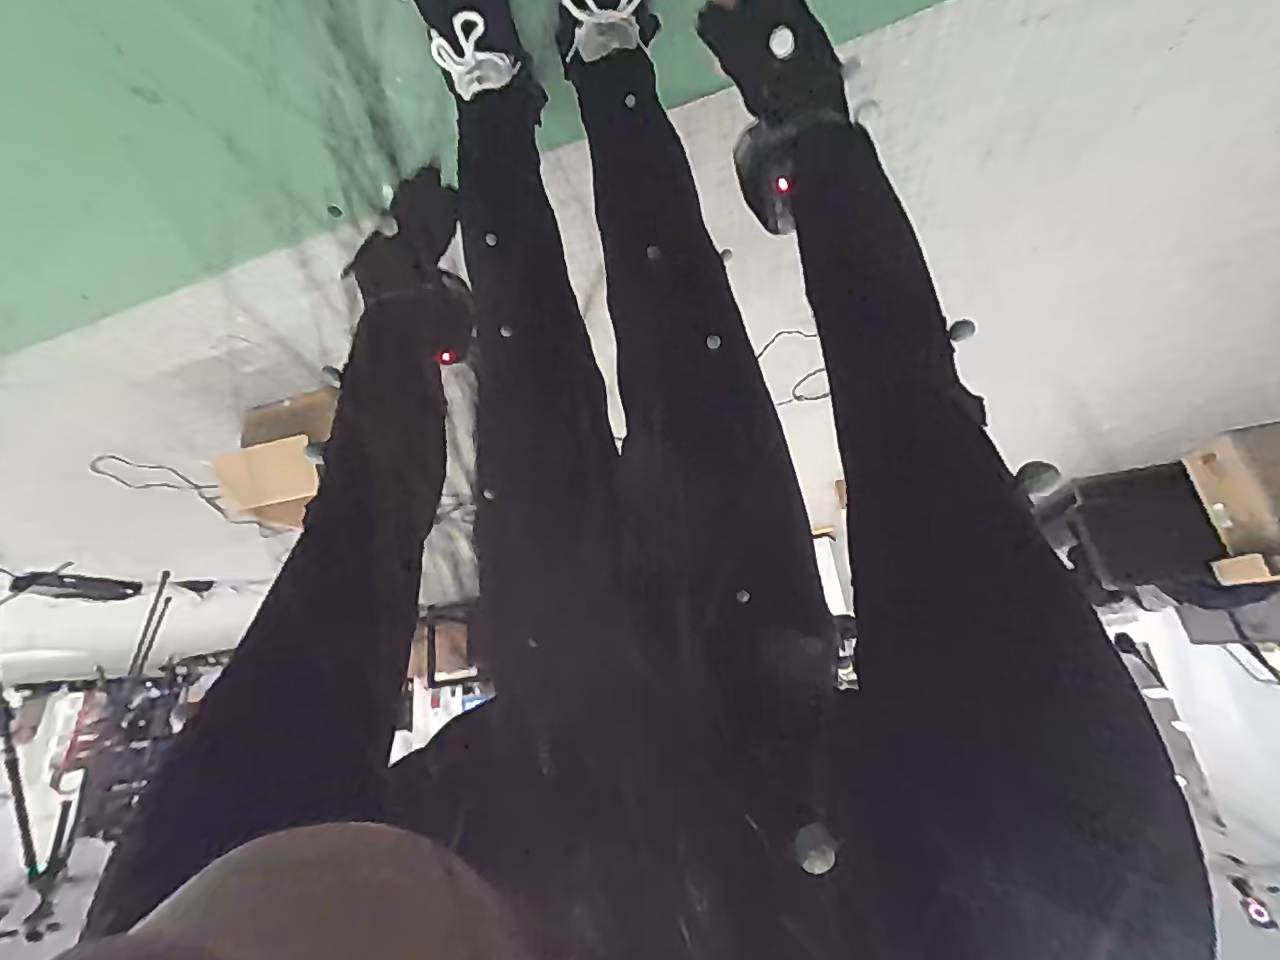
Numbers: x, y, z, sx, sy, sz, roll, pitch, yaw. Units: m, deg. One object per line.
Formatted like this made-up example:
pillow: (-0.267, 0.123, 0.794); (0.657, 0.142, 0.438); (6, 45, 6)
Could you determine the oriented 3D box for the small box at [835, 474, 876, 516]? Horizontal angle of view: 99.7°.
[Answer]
small box: (1.153, 0.081, 2.897); (0.168, 0.176, 0.179); (-13, 160, 15)
